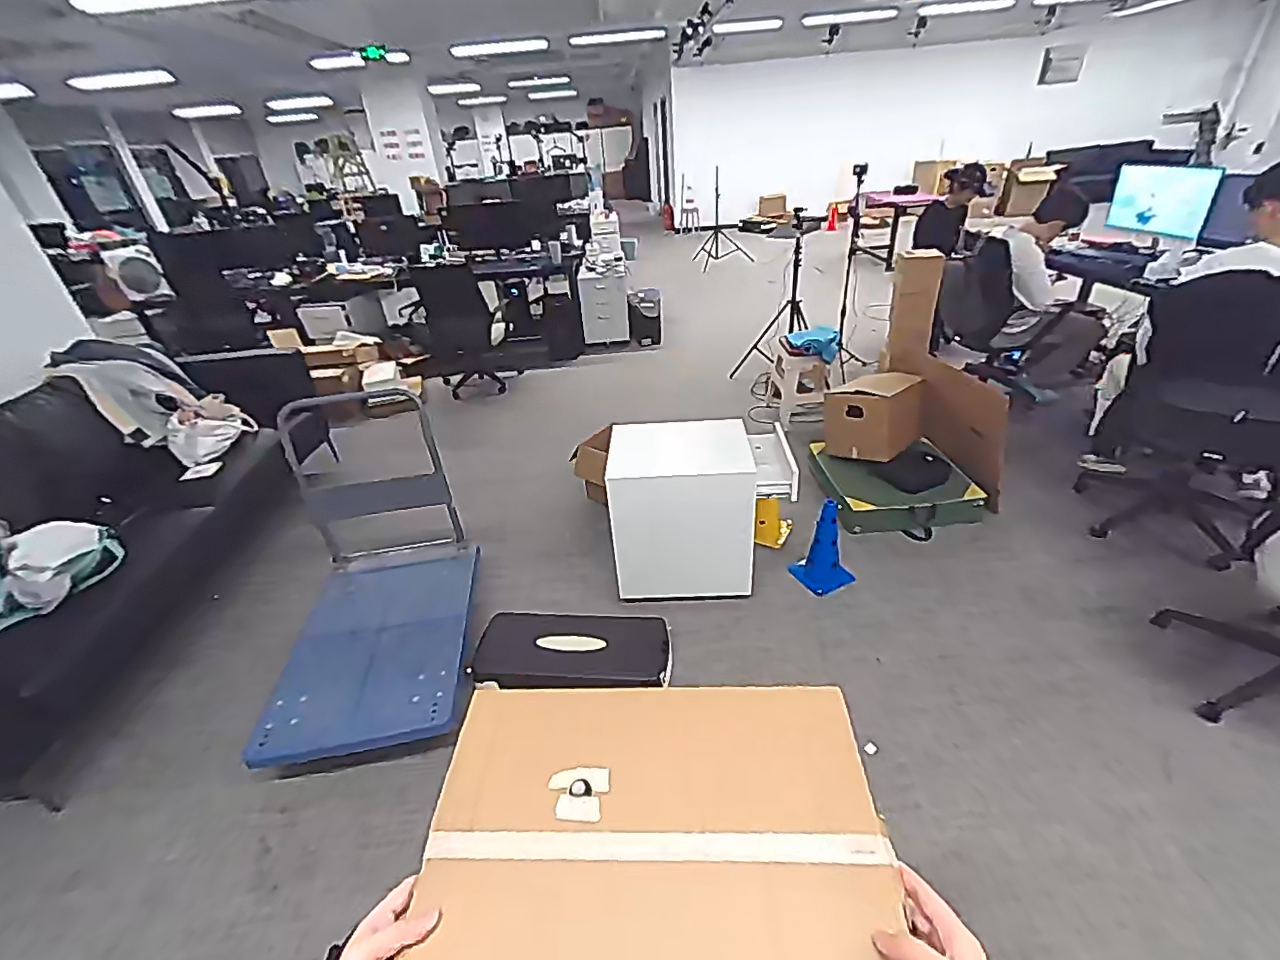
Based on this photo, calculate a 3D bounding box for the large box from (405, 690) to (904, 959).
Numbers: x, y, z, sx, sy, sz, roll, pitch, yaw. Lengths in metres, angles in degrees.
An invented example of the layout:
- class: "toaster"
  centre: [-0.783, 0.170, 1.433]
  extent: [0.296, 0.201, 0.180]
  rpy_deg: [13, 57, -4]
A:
- class: "large box"
  centre: [0.025, 0.452, 0.573]
  extent: [0.408, 0.320, 0.320]
  rpy_deg: [-4, 37, 6]
